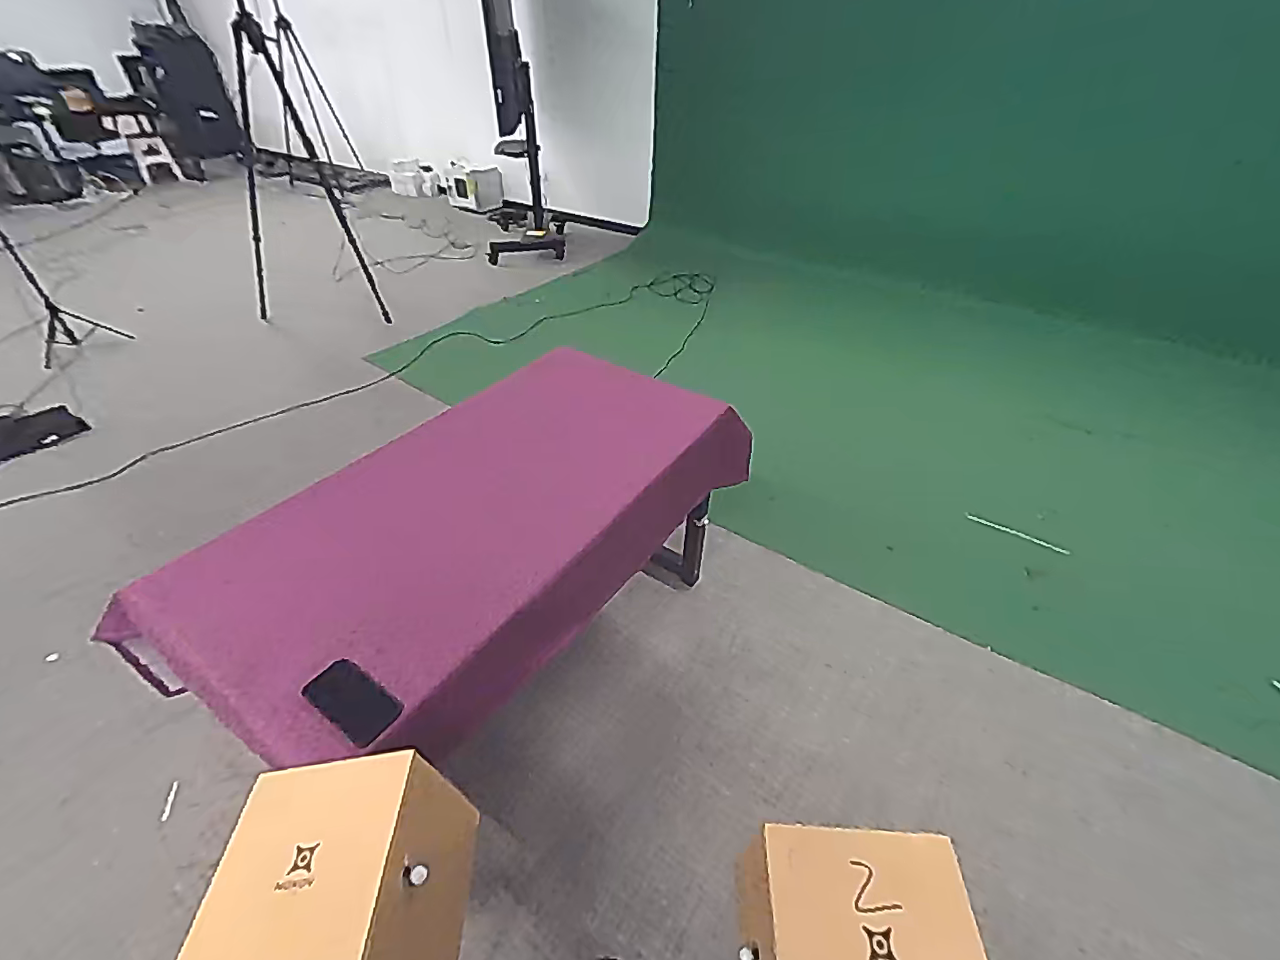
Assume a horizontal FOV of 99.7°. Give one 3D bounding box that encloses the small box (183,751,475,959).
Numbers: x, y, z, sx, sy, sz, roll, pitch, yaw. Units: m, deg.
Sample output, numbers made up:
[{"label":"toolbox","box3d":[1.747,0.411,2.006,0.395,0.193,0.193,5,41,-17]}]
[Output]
[{"label":"small box","box3d":[-0.277,0.398,0.529,0.168,0.176,0.179,-10,40,5]}]
